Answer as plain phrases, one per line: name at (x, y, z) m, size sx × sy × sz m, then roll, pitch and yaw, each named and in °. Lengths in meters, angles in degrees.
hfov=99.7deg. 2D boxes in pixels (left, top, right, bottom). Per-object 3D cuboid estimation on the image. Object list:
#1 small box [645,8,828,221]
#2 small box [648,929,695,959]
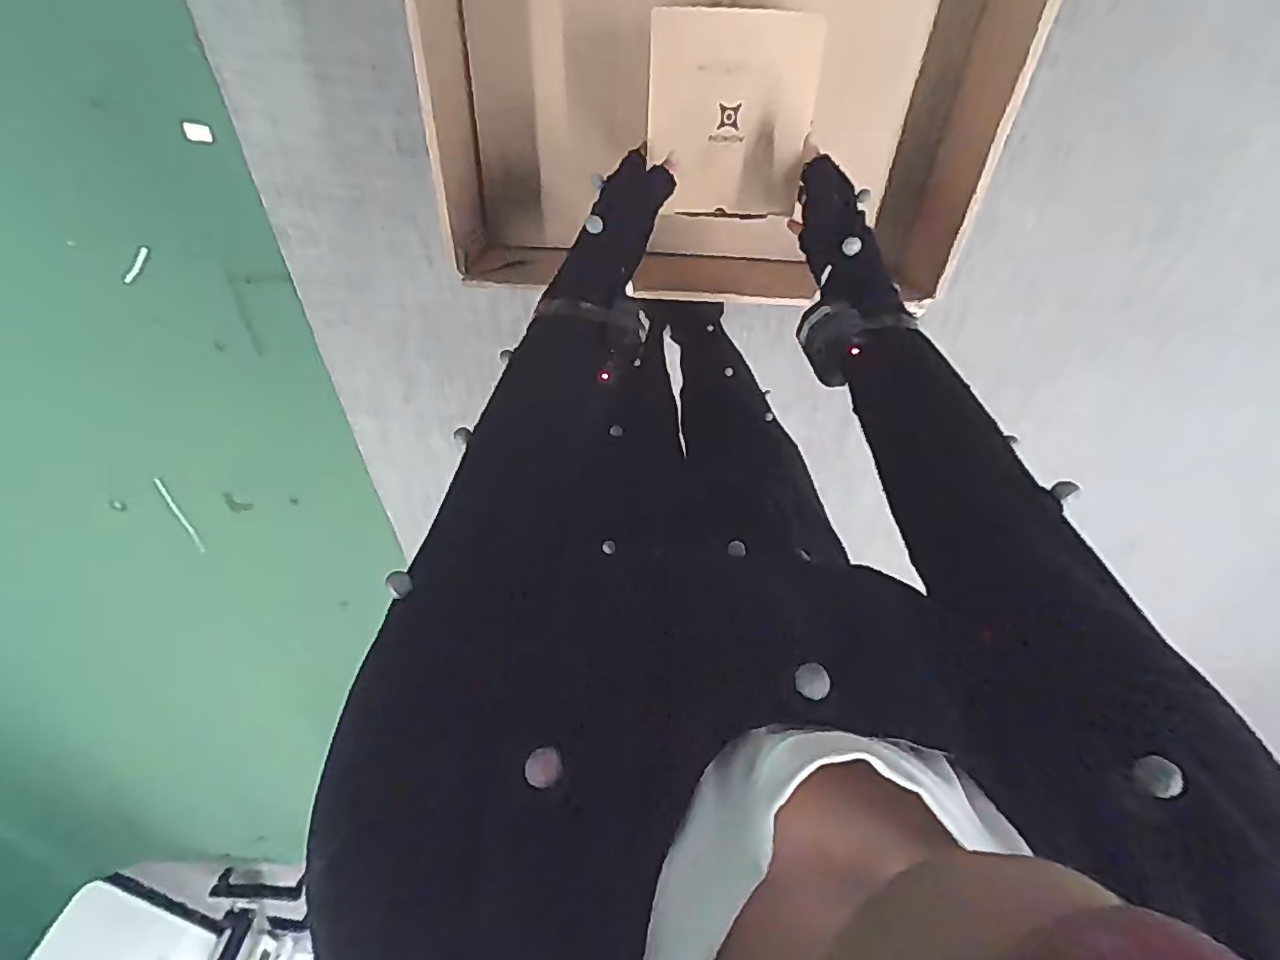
small box at (0.092, -0.406, 0.611) m, size 0.168 × 0.176 × 0.179 m, roll 1°, pitch 125°, yaw -1°
small box at (0.119, 1.811, 2.030) m, size 0.179 × 0.176 × 0.168 m, roll -1°, pitch 129°, yaw 4°
